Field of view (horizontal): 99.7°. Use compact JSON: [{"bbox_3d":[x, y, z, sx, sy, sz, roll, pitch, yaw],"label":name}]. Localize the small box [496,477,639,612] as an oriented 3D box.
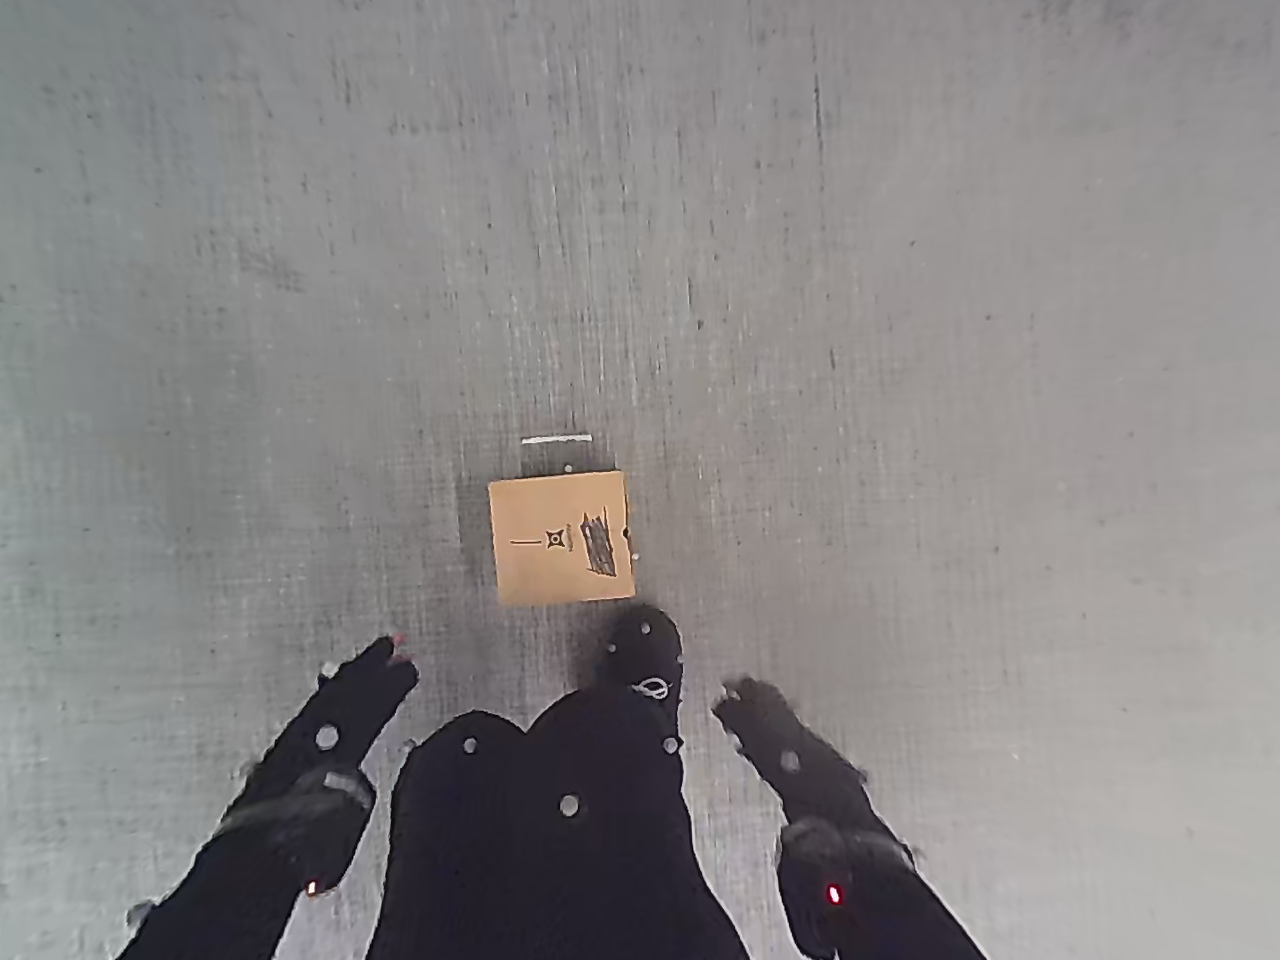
[{"bbox_3d":[-0.097,0.083,0.778,0.179,0.176,0.168,-5,90,-2],"label":"small box"}]
